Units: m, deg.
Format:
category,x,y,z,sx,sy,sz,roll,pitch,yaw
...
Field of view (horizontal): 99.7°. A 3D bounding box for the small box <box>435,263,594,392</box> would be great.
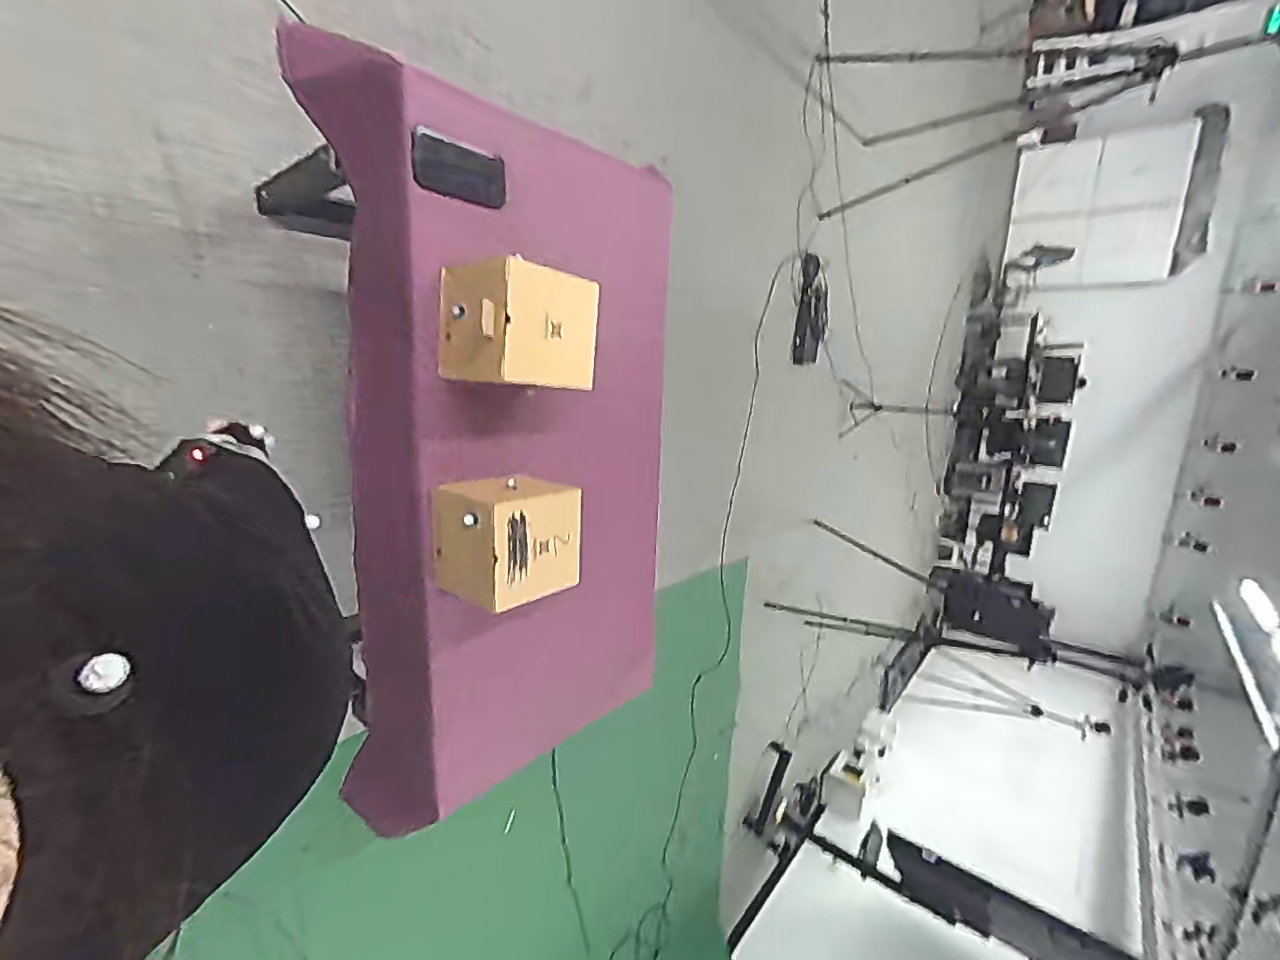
category,x,y,z,sx,sy,sz,roll,pitch,yaw
small box,-0.197,-0.233,0.852,0.179,0.176,0.168,-5,103,-49
